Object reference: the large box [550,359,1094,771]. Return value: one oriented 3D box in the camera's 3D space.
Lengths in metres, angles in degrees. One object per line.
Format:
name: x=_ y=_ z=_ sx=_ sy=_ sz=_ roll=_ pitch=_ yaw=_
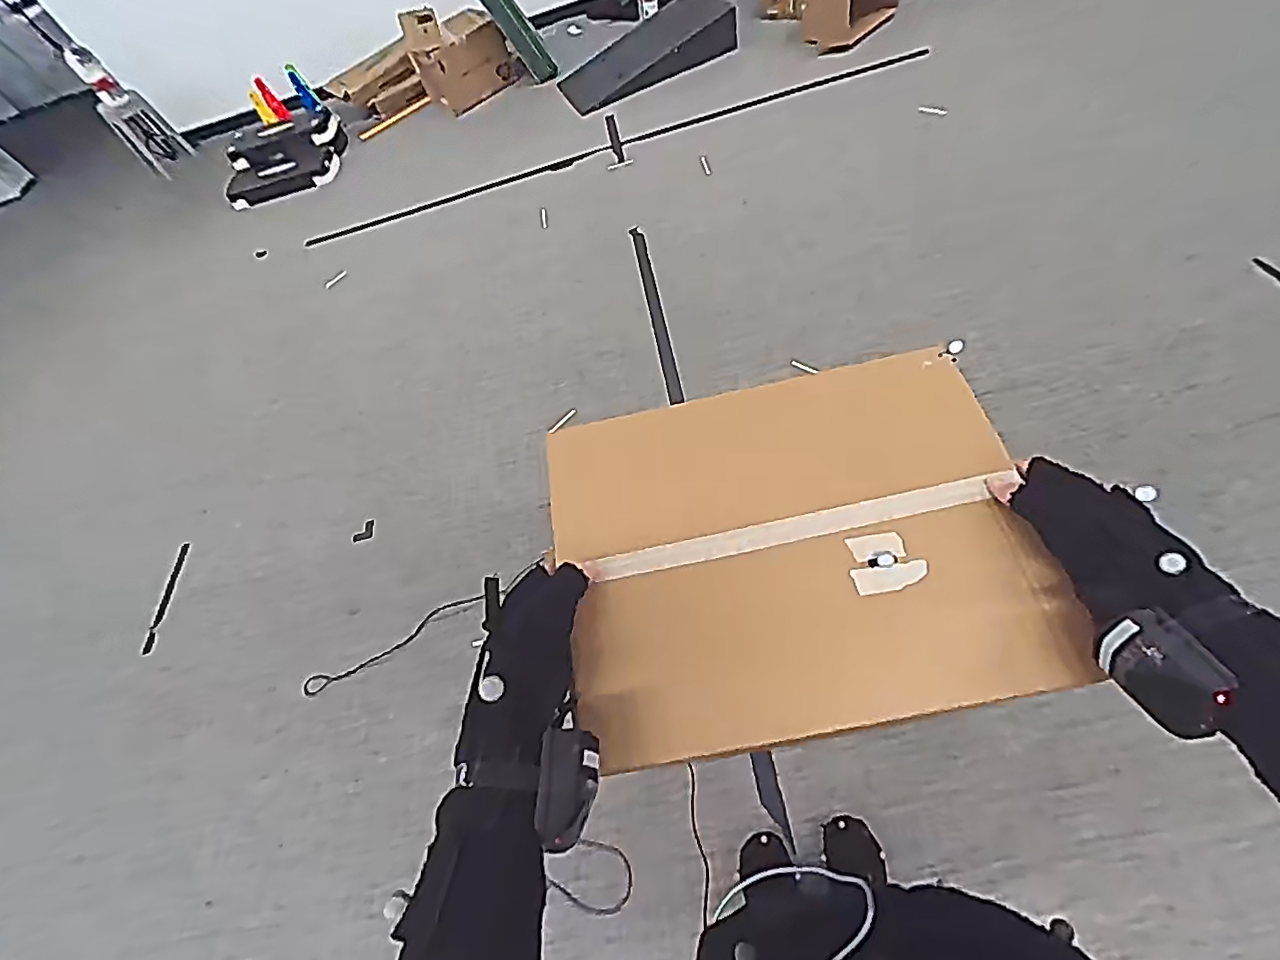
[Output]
large box: x=0.144 y=0.120 z=0.613 sx=0.408 sy=0.320 sz=0.320 roll=-12 pitch=62 yaw=2
